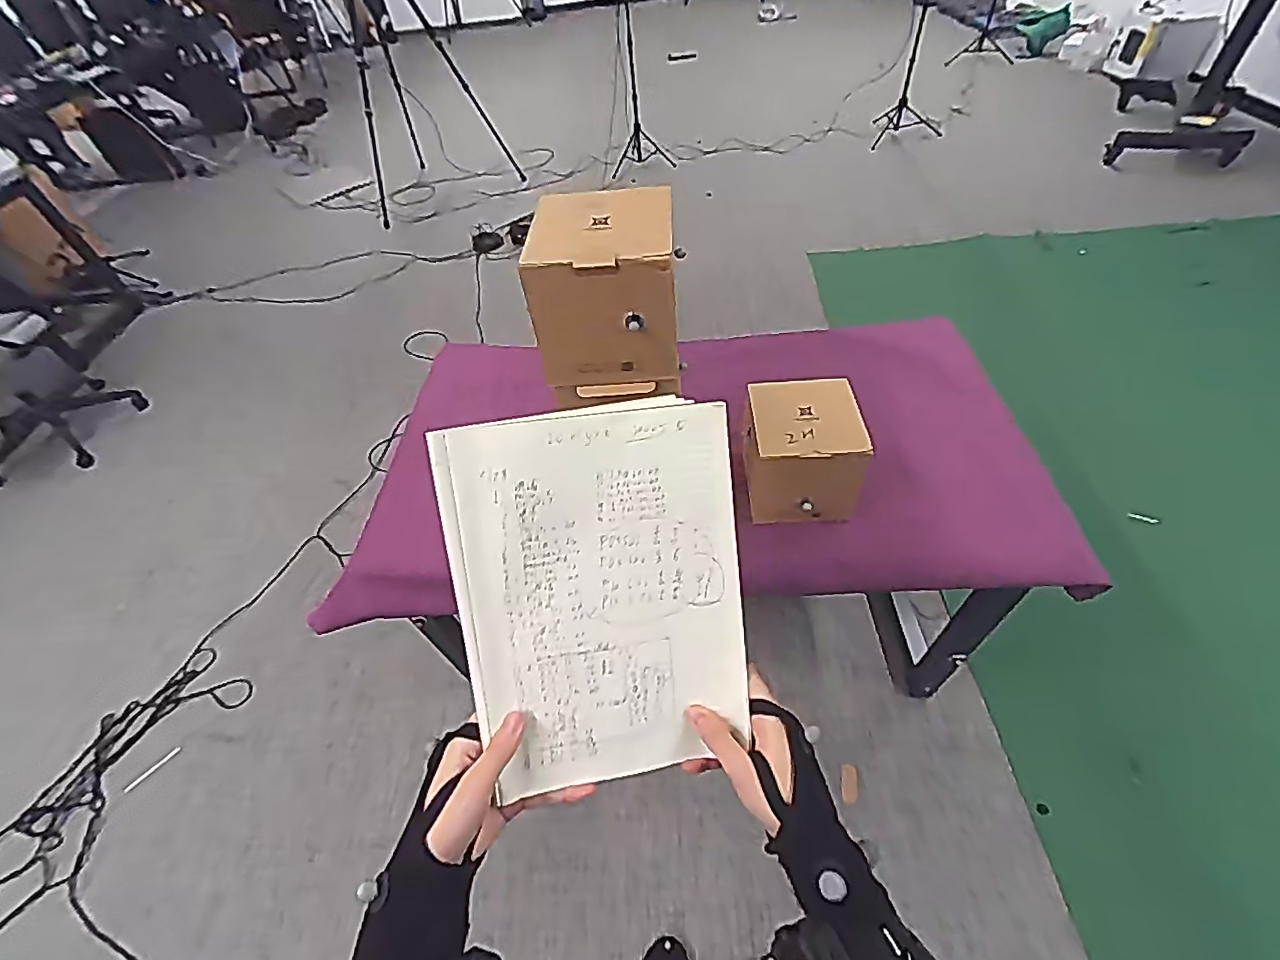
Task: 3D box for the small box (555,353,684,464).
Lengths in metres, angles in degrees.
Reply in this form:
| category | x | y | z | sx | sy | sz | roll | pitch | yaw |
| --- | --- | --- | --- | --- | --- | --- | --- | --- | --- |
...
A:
| category | x | y | z | sx | sy | sz | roll | pitch | yaw |
| --- | --- | --- | --- | --- | --- | --- | --- | --- | --- |
| small box | -0.020 | -0.135 | 0.812 | 0.168 | 0.176 | 0.179 | -2 | 49 | 5 |

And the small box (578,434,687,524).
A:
| category | x | y | z | sx | sy | sz | roll | pitch | yaw |
| --- | --- | --- | --- | --- | --- | --- | --- | --- | --- |
| small box | -0.004 | -0.033 | 0.941 | 0.168 | 0.176 | 0.179 | -2 | 50 | 5 |

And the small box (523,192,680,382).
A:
| category | x | y | z | sx | sy | sz | roll | pitch | yaw |
| --- | --- | --- | --- | --- | --- | --- | --- | --- | --- |
| small box | -0.035 | -0.237 | 0.685 | 0.168 | 0.176 | 0.179 | -1 | 49 | 5 |
